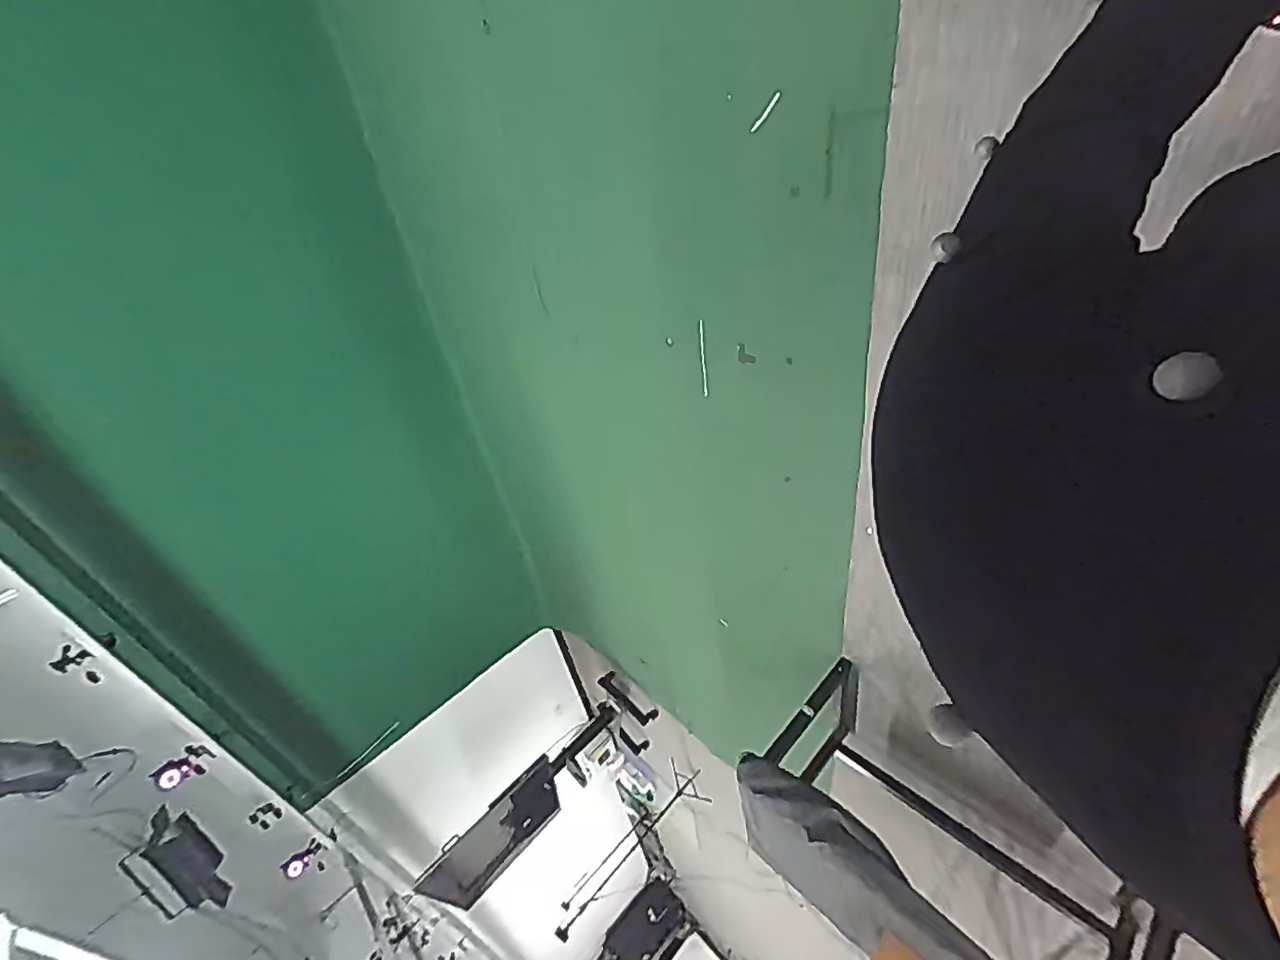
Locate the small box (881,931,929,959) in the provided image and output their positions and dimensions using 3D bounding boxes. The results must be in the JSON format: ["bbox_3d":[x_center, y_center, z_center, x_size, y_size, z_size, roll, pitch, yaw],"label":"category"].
[{"bbox_3d":[0.853,1.597,1.712,0.179,0.176,0.168,24,139,43],"label":"small box"}]
